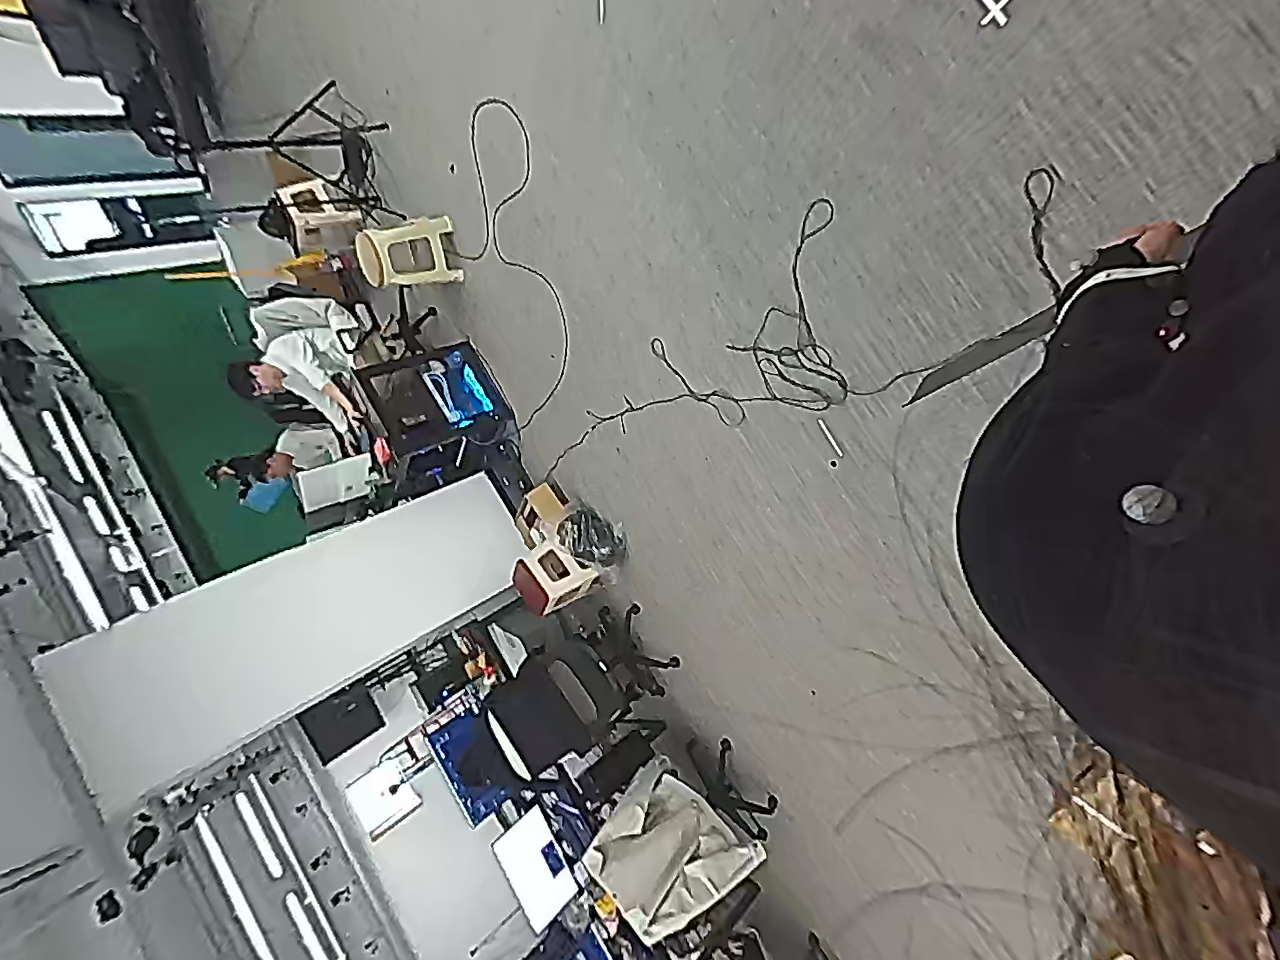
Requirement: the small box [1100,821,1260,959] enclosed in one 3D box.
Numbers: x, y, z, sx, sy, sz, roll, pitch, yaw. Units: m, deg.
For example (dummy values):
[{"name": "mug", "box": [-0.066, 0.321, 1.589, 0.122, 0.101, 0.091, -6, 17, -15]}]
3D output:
[{"name": "small box", "box": [1.113, 0.861, 1.116, 0.179, 0.176, 0.168, 33, 135, 37]}]
